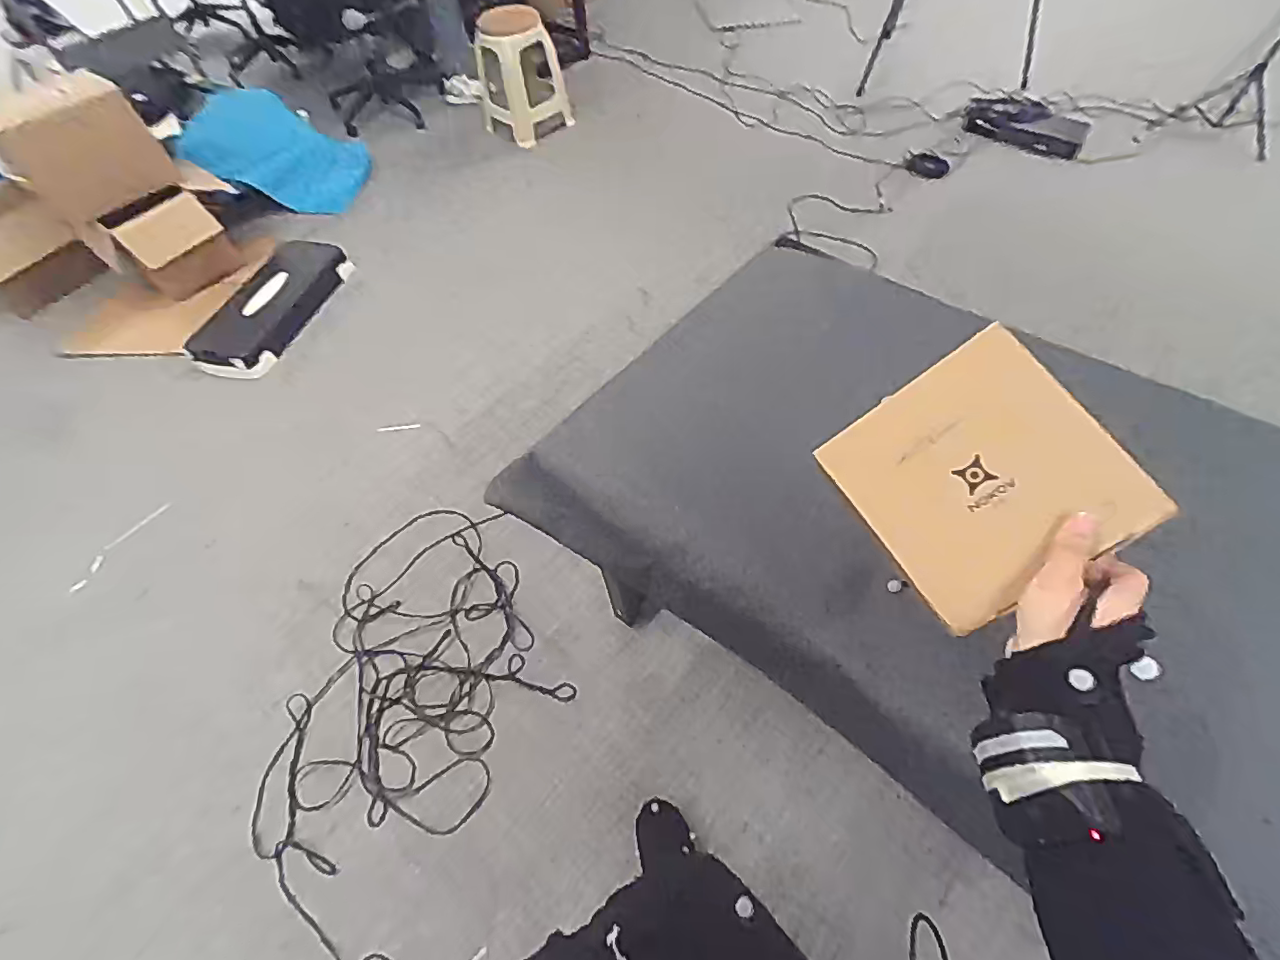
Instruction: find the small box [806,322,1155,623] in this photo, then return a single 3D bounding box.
[{"bbox_3d":[0.272,-0.001,0.483,0.168,0.176,0.179,-38,74,11],"label":"small box"}]
